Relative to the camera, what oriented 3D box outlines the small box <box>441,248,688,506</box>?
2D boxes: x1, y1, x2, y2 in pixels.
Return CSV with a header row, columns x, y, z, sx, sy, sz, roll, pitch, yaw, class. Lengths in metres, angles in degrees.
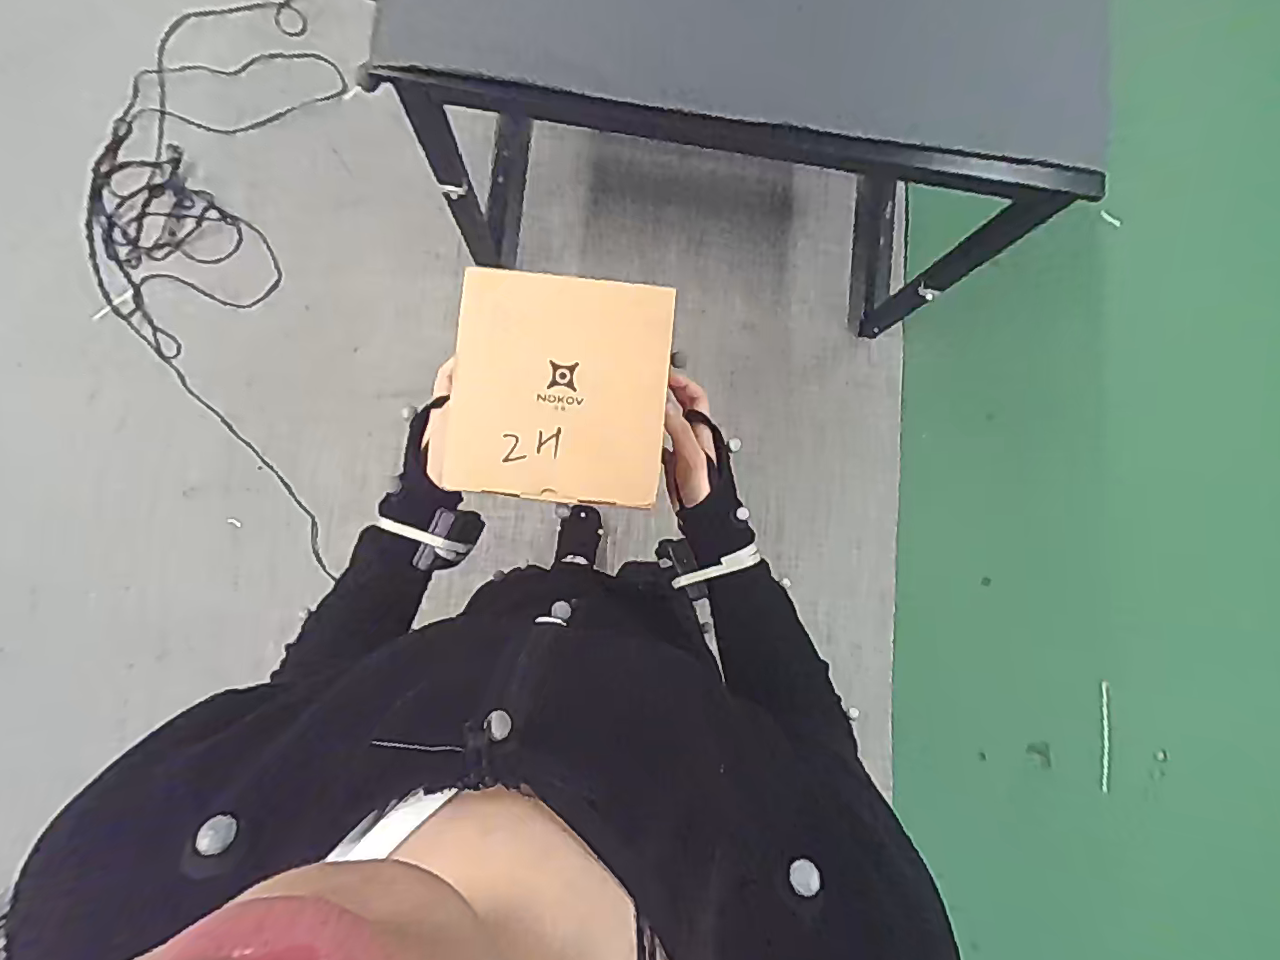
x,y,z,sx,sy,sz,roll,pitch,yaw,class
-0.058,-0.073,0.479,0.168,0.176,0.179,6,86,-2,small box
